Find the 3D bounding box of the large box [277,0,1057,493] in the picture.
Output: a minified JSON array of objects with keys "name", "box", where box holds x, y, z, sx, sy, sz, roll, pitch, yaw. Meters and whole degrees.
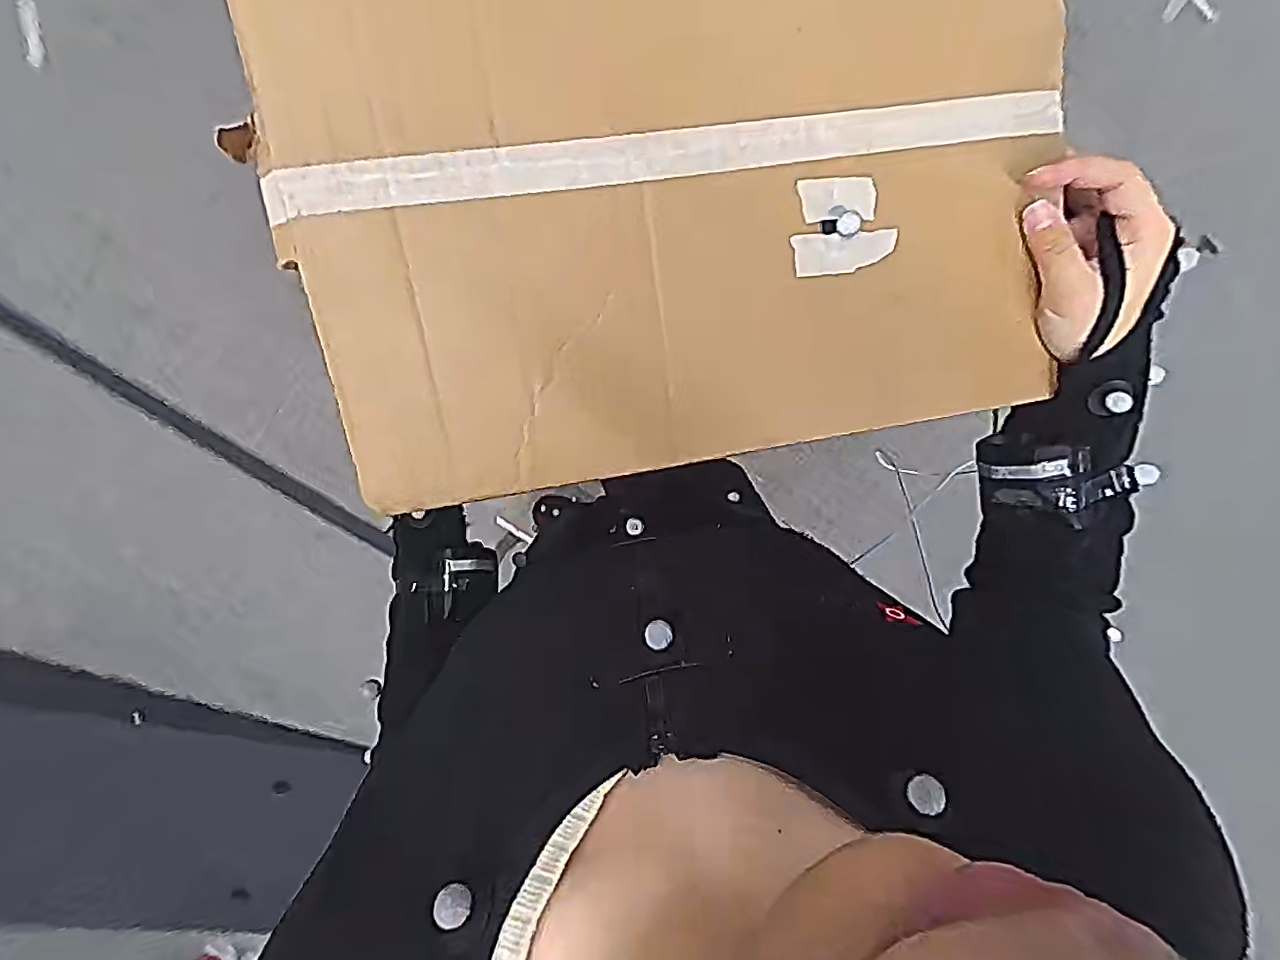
[{"name":"large box","box":[0.015,-0.200,0.428,0.408,0.320,0.320,-10,103,-9]}]
